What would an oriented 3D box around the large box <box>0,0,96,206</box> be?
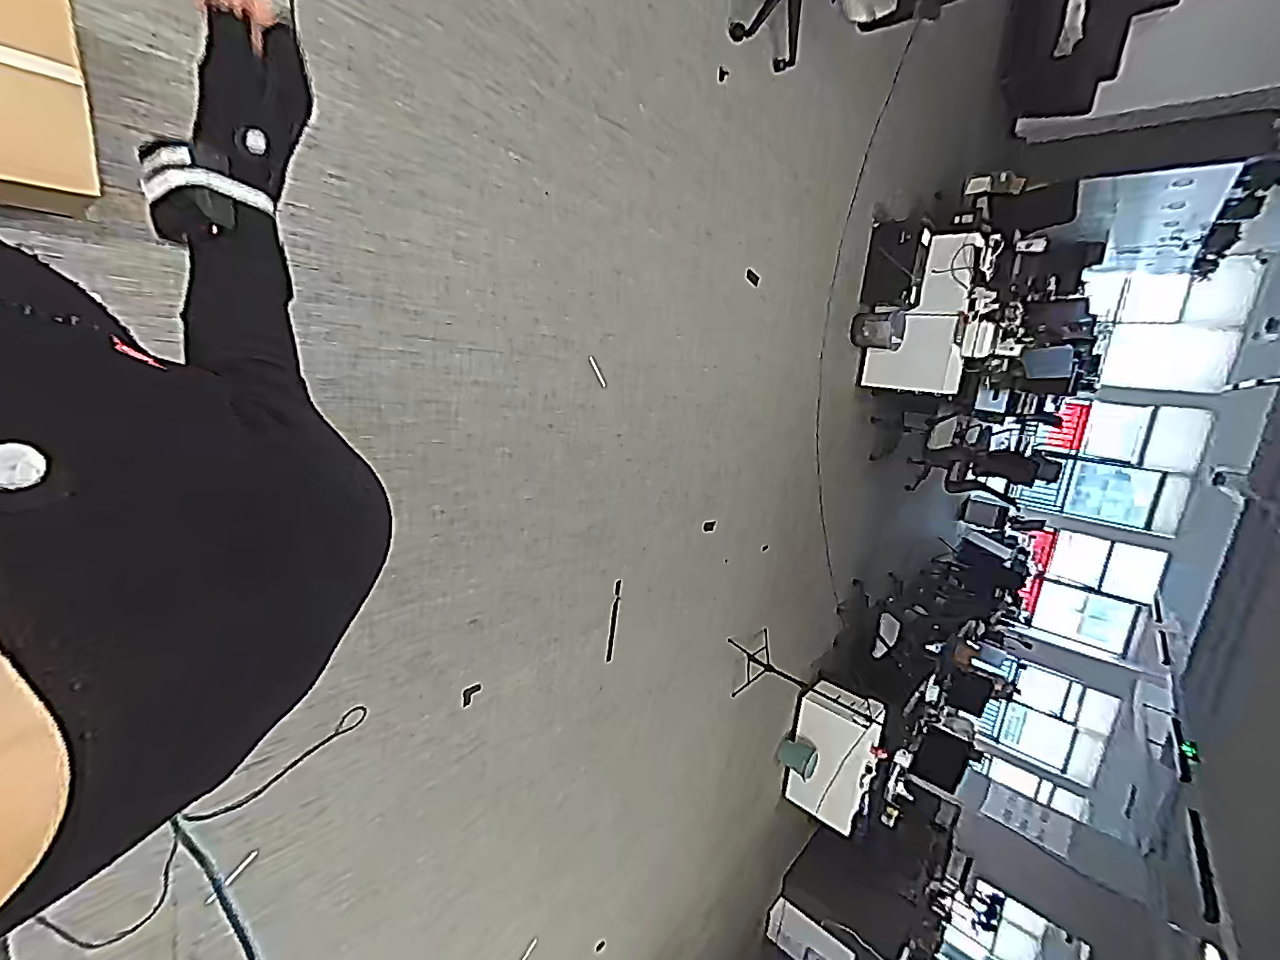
[{"bbox_3d":[-1.064,-0.594,0.733,0.408,0.320,0.320,-12,112,-48],"label":"large box"}]
